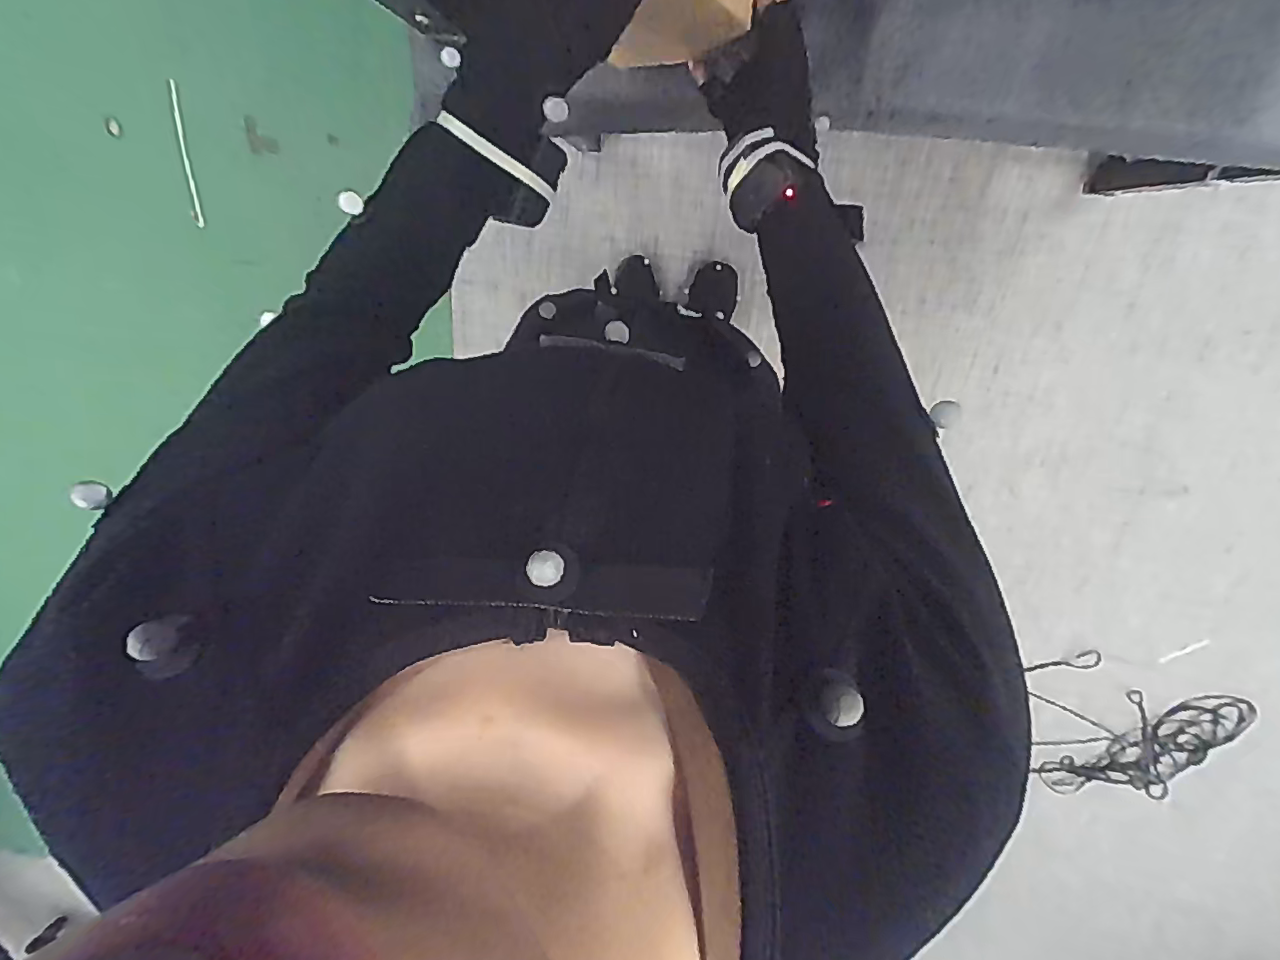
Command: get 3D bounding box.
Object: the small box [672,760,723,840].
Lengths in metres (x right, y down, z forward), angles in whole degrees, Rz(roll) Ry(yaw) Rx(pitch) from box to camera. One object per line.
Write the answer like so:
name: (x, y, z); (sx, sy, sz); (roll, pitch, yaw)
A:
small box: (0.208, 1.154, 1.955); (0.168, 0.176, 0.179); (4, 113, 5)

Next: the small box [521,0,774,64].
small box: (0.004, -0.461, 0.413); (0.168, 0.176, 0.179); (20, 114, 32)
